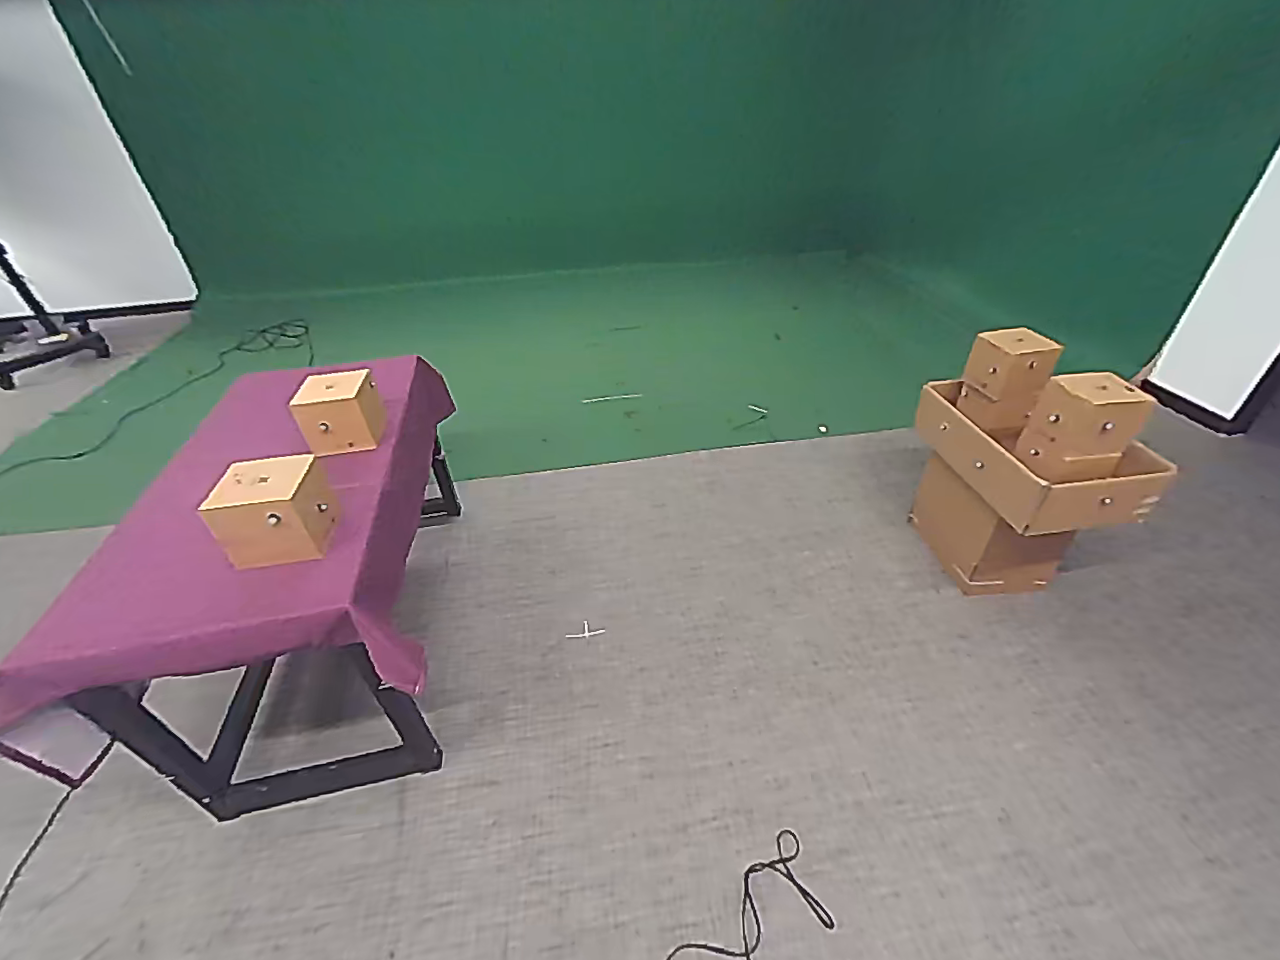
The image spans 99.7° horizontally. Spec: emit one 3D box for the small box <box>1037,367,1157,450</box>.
[{"bbox_3d":[1.246,-0.196,1.498,0.179,0.176,0.168,-6,38,-2],"label":"small box"}]

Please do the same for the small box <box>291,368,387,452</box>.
[{"bbox_3d":[-0.825,-0.190,1.506,0.168,0.176,0.179,-9,37,-7],"label":"small box"}]

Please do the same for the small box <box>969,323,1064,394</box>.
[{"bbox_3d":[1.207,-0.392,1.755,0.179,0.176,0.168,-9,39,-7],"label":"small box"}]

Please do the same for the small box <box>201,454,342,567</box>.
[{"bbox_3d":[-0.776,0.066,1.167,0.179,0.176,0.168,-8,37,-5],"label":"small box"}]
